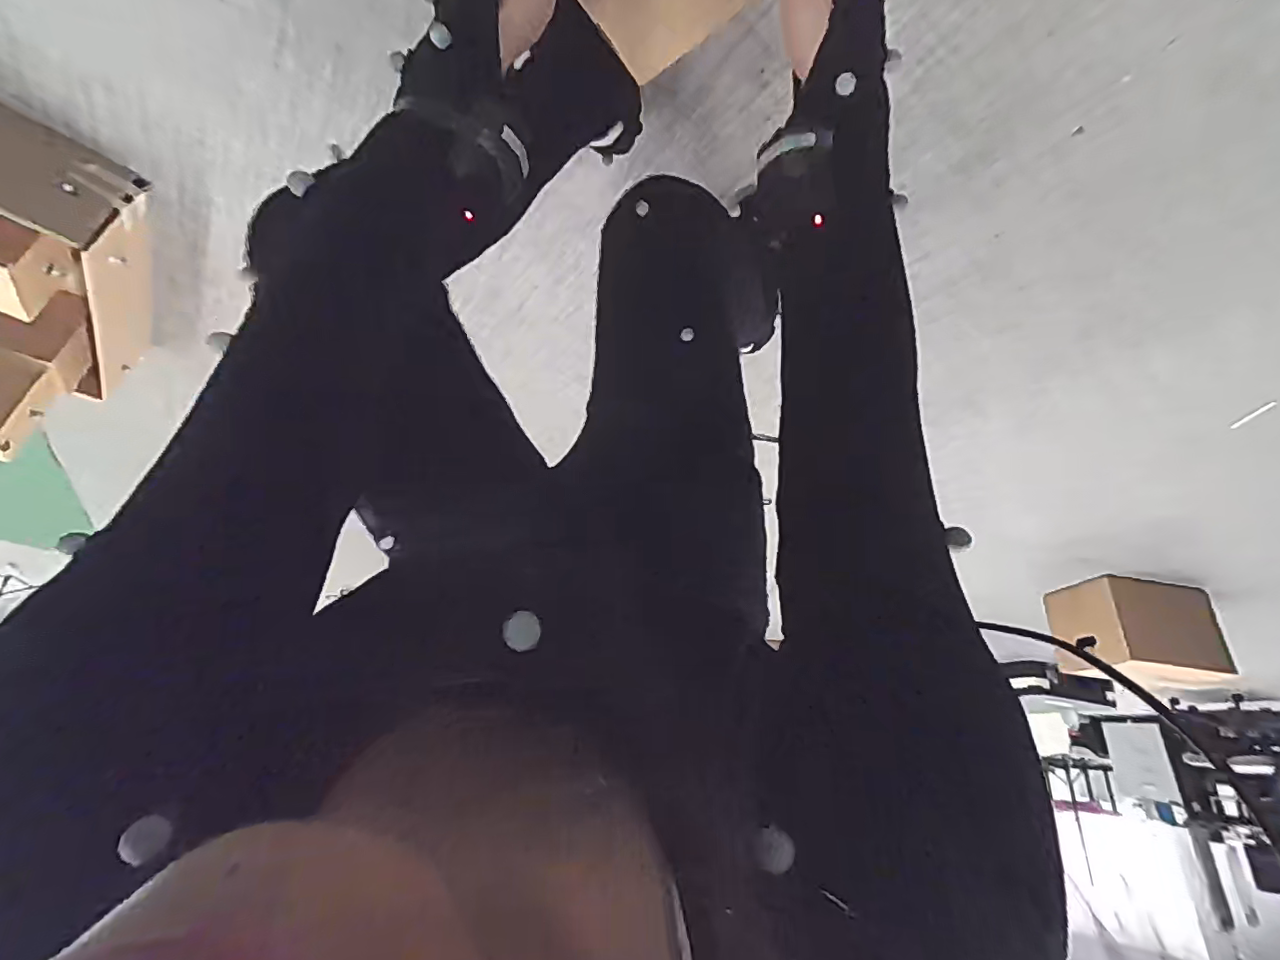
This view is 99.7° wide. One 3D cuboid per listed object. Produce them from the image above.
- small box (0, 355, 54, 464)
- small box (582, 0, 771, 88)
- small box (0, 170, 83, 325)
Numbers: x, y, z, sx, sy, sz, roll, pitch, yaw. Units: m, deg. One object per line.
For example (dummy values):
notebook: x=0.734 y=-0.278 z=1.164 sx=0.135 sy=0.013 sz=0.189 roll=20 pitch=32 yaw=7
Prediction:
small box: x=-1.295 y=-0.156 z=1.049 sx=0.179 sy=0.176 sz=0.168 roll=25 pitch=147 yaw=-34
small box: x=0.031 y=-0.463 z=0.404 sx=0.179 sy=0.176 sz=0.168 roll=-10 pitch=152 yaw=37
small box: x=-1.076 y=-0.400 z=0.892 sx=0.168 sy=0.176 sz=0.179 roll=25 pitch=148 yaw=-32
